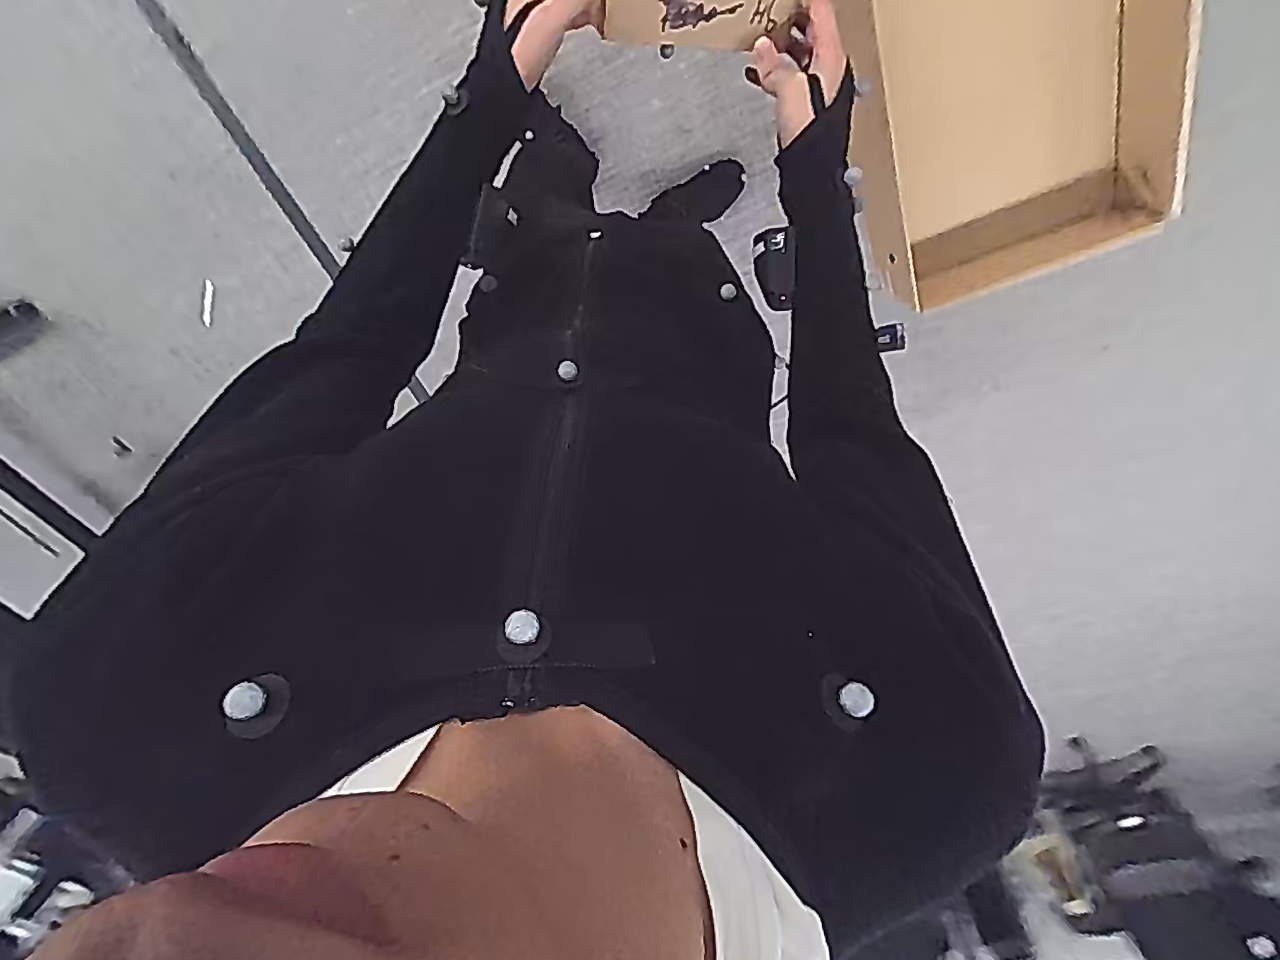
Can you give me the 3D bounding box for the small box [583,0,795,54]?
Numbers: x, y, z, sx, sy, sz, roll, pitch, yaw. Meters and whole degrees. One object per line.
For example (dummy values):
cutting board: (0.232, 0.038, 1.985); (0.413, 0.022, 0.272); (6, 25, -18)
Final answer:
small box: (0.032, -0.471, 0.420); (0.168, 0.176, 0.179); (-10, 147, -17)
